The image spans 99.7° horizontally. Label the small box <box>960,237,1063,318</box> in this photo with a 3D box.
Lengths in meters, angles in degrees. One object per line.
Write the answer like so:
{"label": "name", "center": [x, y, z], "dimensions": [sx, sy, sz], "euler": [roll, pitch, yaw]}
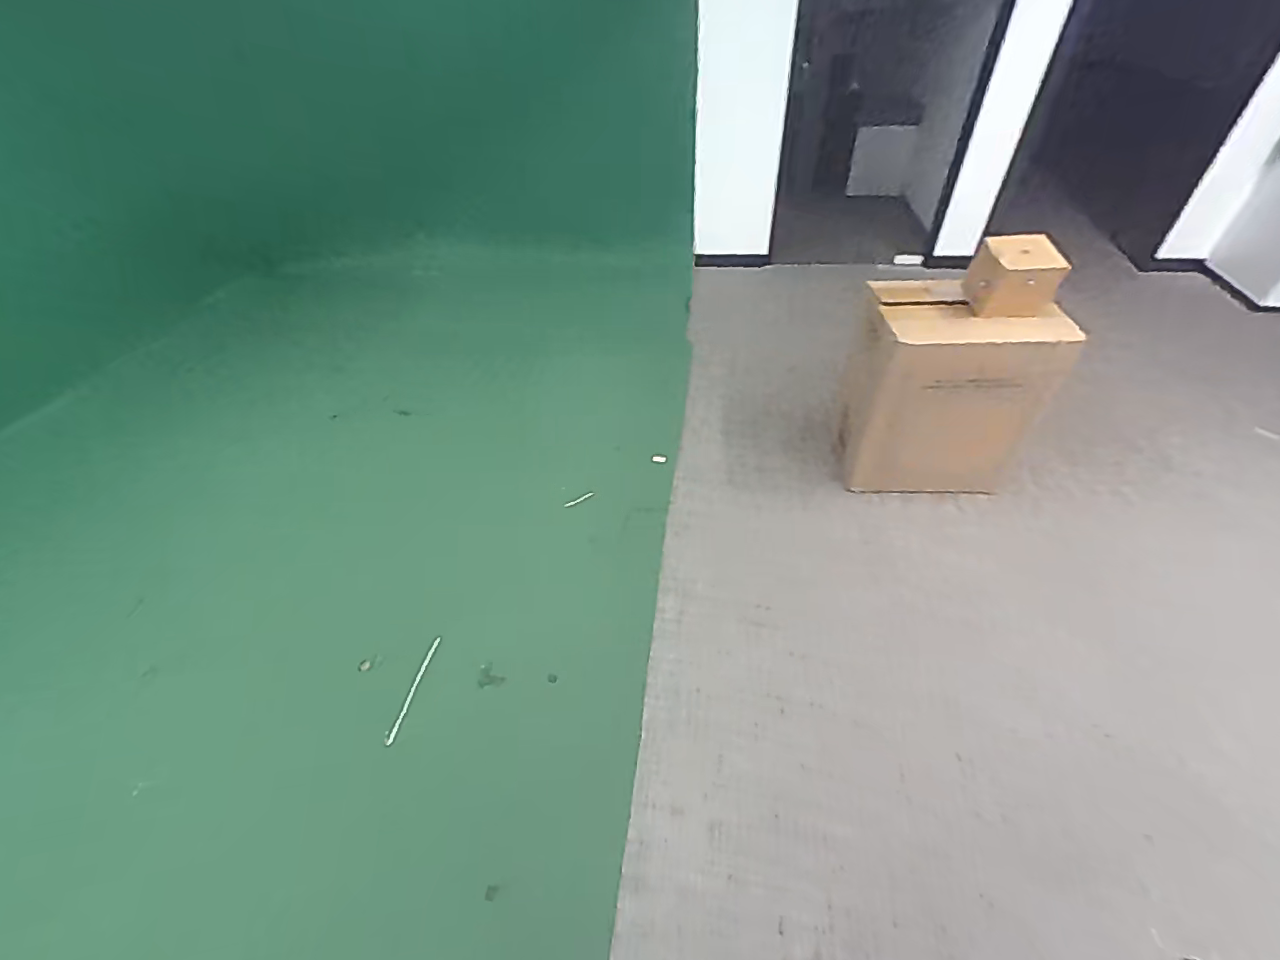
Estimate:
{"label": "small box", "center": [1.092, -0.600, 1.614], "dimensions": [0.179, 0.176, 0.168], "euler": [-1, 54, 0]}
